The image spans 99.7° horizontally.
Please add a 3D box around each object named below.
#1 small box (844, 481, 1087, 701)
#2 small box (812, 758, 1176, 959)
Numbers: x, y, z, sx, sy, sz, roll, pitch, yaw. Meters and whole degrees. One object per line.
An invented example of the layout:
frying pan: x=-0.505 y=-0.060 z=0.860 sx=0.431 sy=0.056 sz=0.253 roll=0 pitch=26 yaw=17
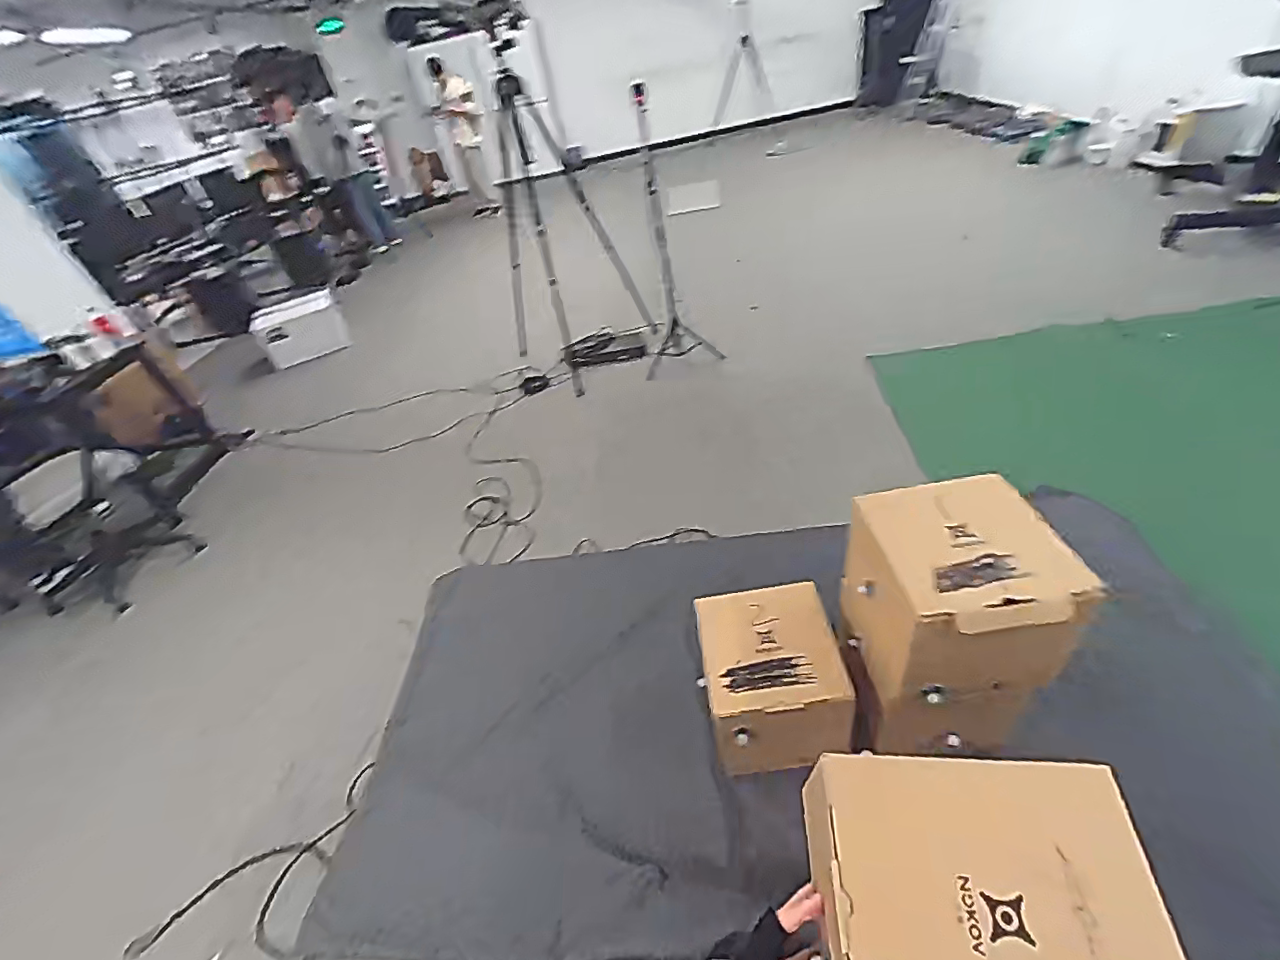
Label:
small box: x=0.341 y=0.130 z=0.610 sx=0.168 sy=0.176 sz=0.179 roll=-10 pitch=38 yaw=5
small box: x=0.216 y=0.301 z=0.371 sx=0.179 sy=0.176 sz=0.168 roll=-2 pitch=54 yaw=11
